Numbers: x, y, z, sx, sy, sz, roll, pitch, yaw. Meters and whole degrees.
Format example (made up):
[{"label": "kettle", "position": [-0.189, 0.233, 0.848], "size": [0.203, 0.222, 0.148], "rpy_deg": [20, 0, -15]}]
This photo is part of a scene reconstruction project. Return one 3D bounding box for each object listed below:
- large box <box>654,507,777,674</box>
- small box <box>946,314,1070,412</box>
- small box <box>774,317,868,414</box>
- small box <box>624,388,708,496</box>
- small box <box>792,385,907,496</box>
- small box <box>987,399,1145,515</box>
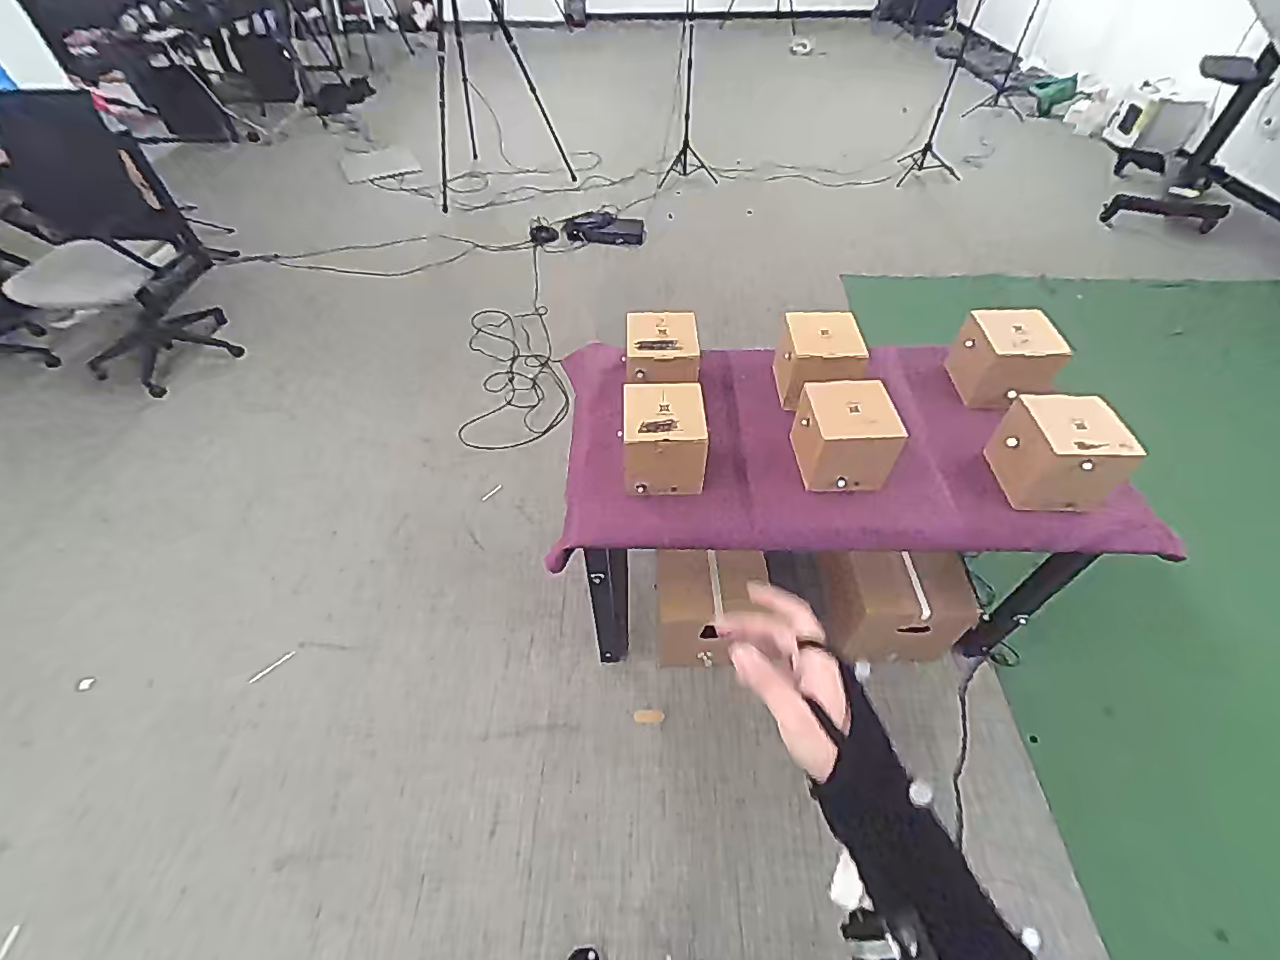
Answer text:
[{"label": "large box", "position": [0.207, 0.340, 1.671], "size": [0.320, 0.320, 0.408], "rpy_deg": [-1, 48, -1]}, {"label": "small box", "position": [0.883, -0.286, 1.322], "size": [0.168, 0.176, 0.179], "rpy_deg": [0, 50, 4]}, {"label": "small box", "position": [0.435, -0.280, 1.332], "size": [0.168, 0.176, 0.179], "rpy_deg": [0, 50, 1]}, {"label": "small box", "position": [0.052, -0.077, 1.158], "size": [0.168, 0.176, 0.179], "rpy_deg": [-1, 47, -1]}, {"label": "small box", "position": [0.435, -0.085, 1.159], "size": [0.168, 0.176, 0.179], "rpy_deg": [-2, 48, 1]}, {"label": "small box", "position": [0.858, -0.049, 1.116], "size": [0.168, 0.176, 0.179], "rpy_deg": [0, 46, 4]}]
